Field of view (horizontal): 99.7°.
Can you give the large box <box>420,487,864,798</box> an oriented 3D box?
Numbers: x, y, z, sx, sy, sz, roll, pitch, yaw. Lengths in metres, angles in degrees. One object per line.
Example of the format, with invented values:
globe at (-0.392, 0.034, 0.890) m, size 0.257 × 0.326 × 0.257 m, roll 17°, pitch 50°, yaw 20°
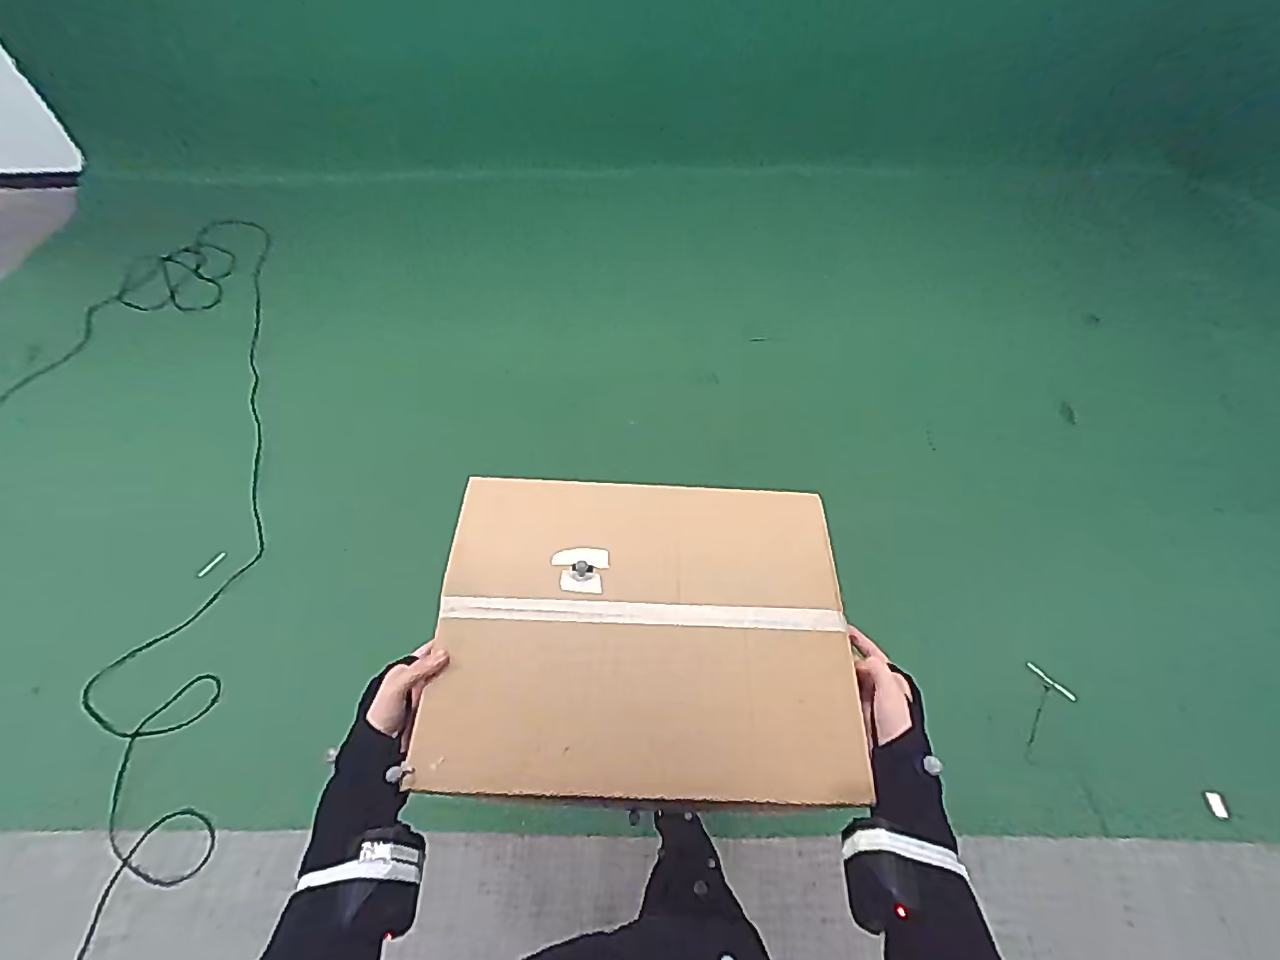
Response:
large box at (0.003, 0.220, 0.682) m, size 0.408 × 0.320 × 0.320 m, roll 2°, pitch 56°, yaw -1°
